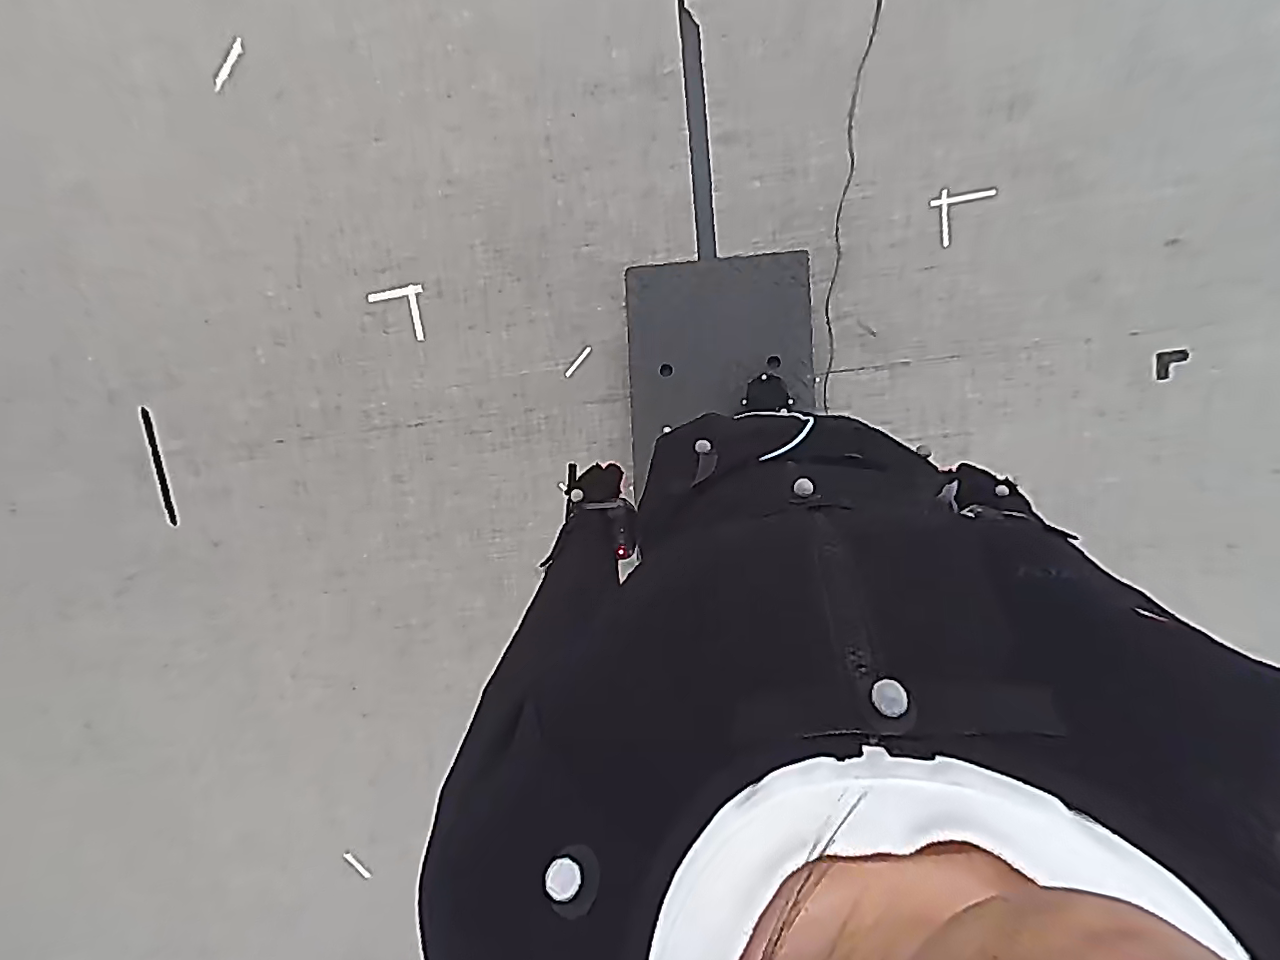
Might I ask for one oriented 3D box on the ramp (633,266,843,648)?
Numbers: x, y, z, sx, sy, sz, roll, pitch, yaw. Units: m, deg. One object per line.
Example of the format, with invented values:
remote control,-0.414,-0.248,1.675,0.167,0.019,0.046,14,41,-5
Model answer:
ramp,0.247,-0.060,1.453,0.509,0.206,0.991,-6,96,10
